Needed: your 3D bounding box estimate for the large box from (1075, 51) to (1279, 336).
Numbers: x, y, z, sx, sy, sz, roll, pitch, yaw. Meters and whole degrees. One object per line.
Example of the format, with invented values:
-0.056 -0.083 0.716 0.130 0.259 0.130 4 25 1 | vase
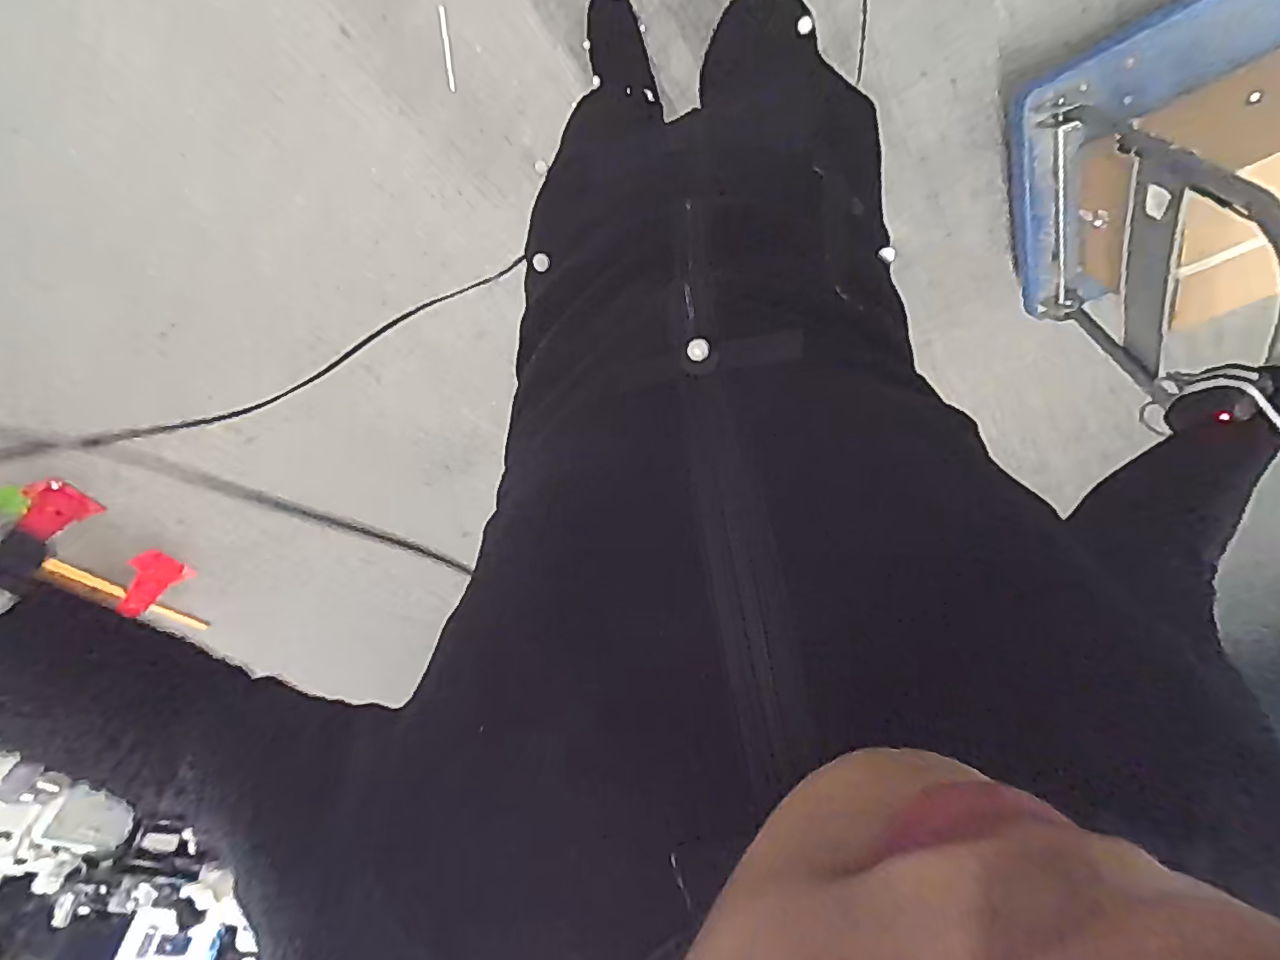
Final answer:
1.164 -0.563 1.053 0.408 0.320 0.320 -24 131 20 | large box
